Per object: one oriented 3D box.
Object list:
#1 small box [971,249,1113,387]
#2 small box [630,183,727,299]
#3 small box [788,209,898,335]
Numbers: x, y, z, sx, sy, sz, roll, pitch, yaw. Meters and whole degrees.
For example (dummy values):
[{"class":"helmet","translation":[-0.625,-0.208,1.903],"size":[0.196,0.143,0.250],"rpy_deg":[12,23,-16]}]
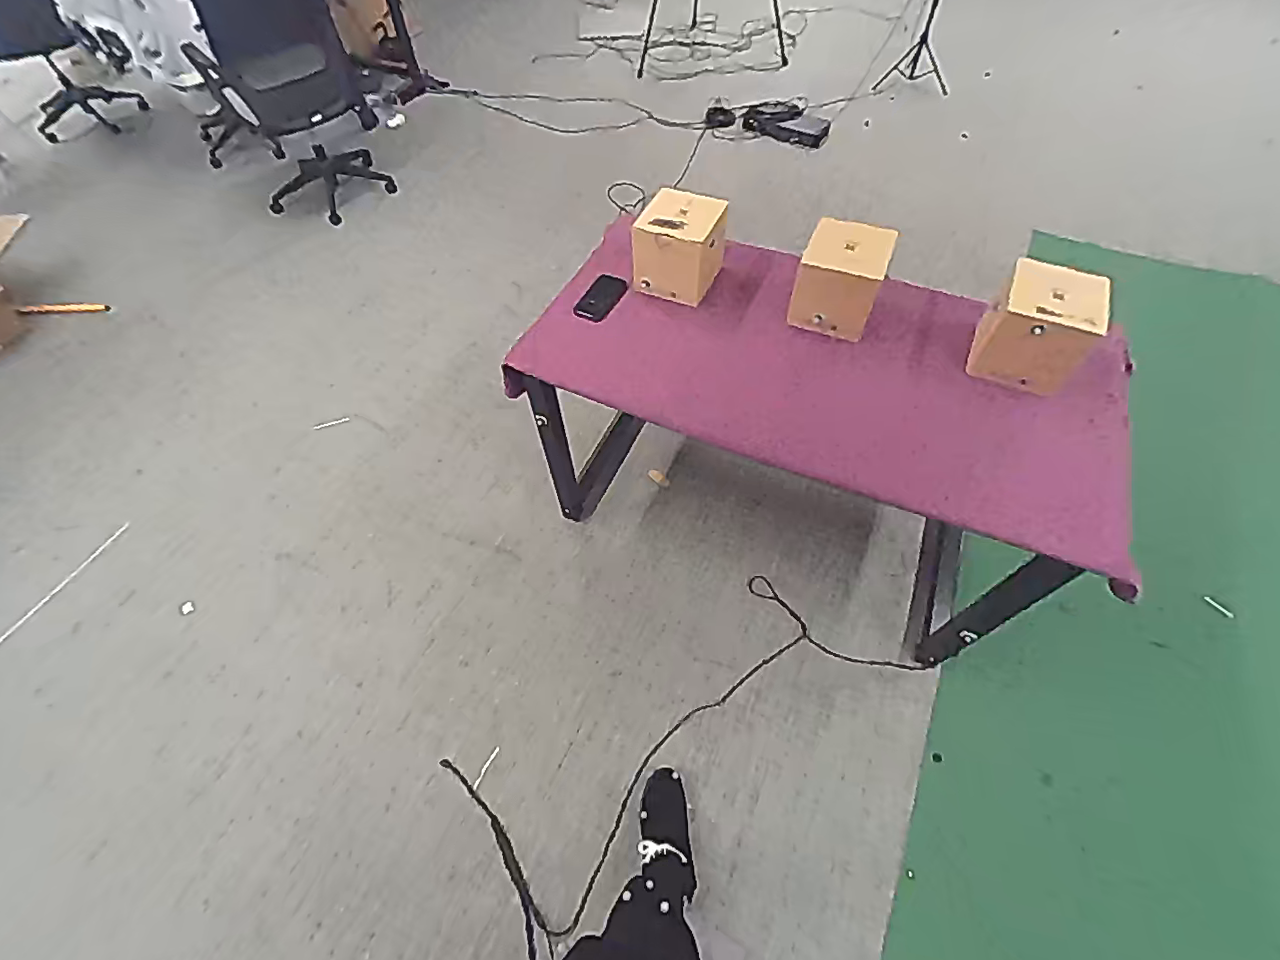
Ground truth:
[{"class":"small box","translation":[0.784,-0.318,1.068],"size":[0.168,0.176,0.179],"rpy_deg":[21,60,17]},{"class":"small box","translation":[0.091,-0.549,1.253],"size":[0.168,0.176,0.179],"rpy_deg":[20,60,15]},{"class":"small box","translation":[0.433,-0.449,1.172],"size":[0.168,0.176,0.179],"rpy_deg":[19,61,16]}]
